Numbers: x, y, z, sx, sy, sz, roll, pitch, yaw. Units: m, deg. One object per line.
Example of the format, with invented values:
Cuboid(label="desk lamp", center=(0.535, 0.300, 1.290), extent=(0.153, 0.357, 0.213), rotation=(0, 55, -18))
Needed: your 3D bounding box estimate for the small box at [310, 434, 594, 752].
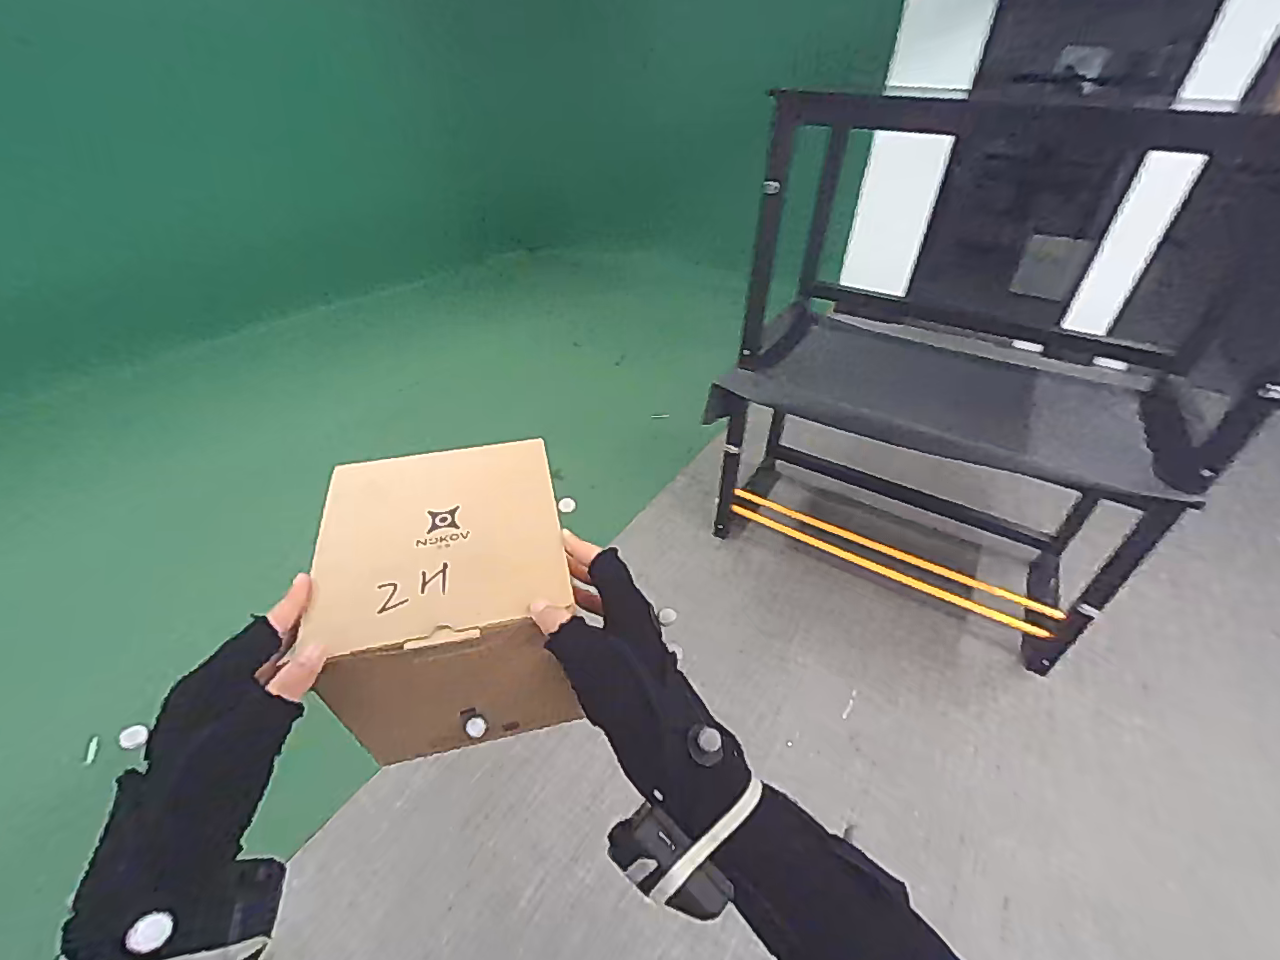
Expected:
Cuboid(label="small box", center=(-0.132, 0.088, 0.440), extent=(0.168, 0.176, 0.179), rotation=(-9, 45, -10))
